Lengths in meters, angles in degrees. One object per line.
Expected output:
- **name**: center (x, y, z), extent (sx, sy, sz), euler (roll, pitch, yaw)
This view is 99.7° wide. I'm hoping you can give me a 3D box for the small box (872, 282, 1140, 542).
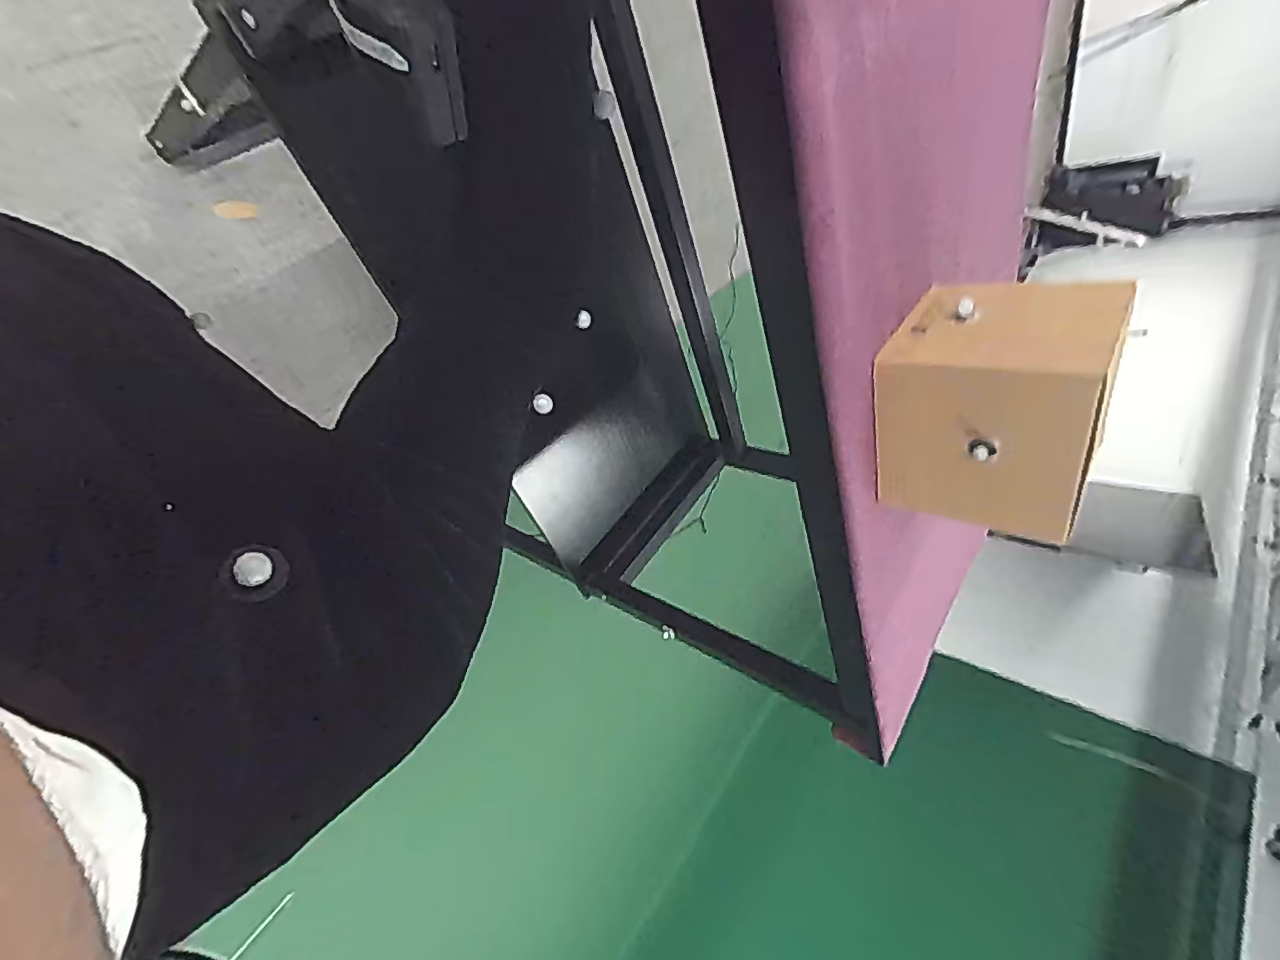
- **small box**: center (0.338, -0.075, 0.519), extent (0.168, 0.176, 0.179), euler (-44, 130, -31)
